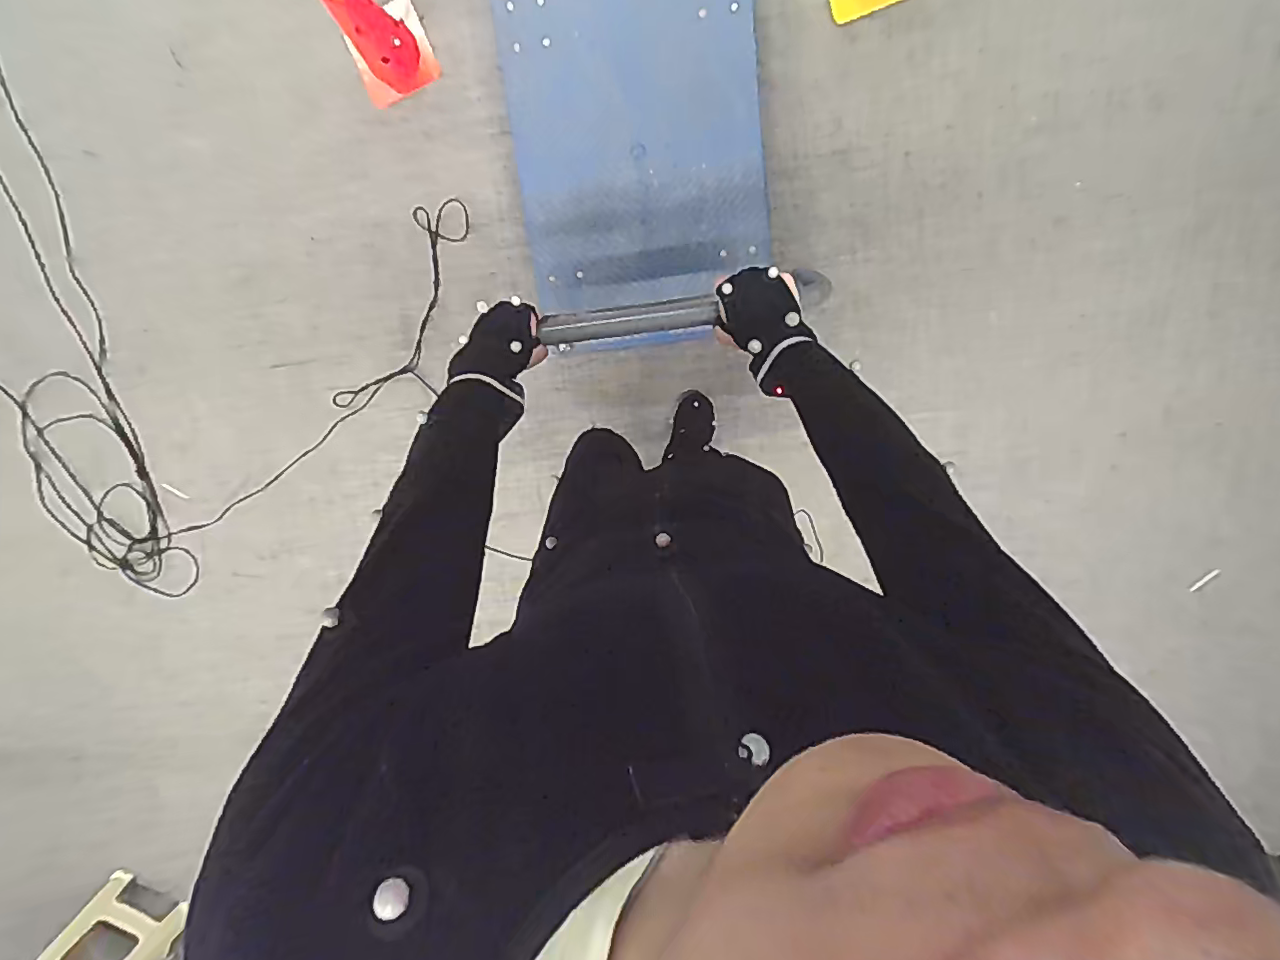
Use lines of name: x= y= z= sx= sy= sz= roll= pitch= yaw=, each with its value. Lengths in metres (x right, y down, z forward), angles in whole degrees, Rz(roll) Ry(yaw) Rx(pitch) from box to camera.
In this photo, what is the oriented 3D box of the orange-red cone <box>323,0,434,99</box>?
orange-red cone: x=-0.653 y=-1.059 z=1.205 sx=0.199 sy=0.360 sz=0.198 roll=-20 pitch=101 yaw=9
